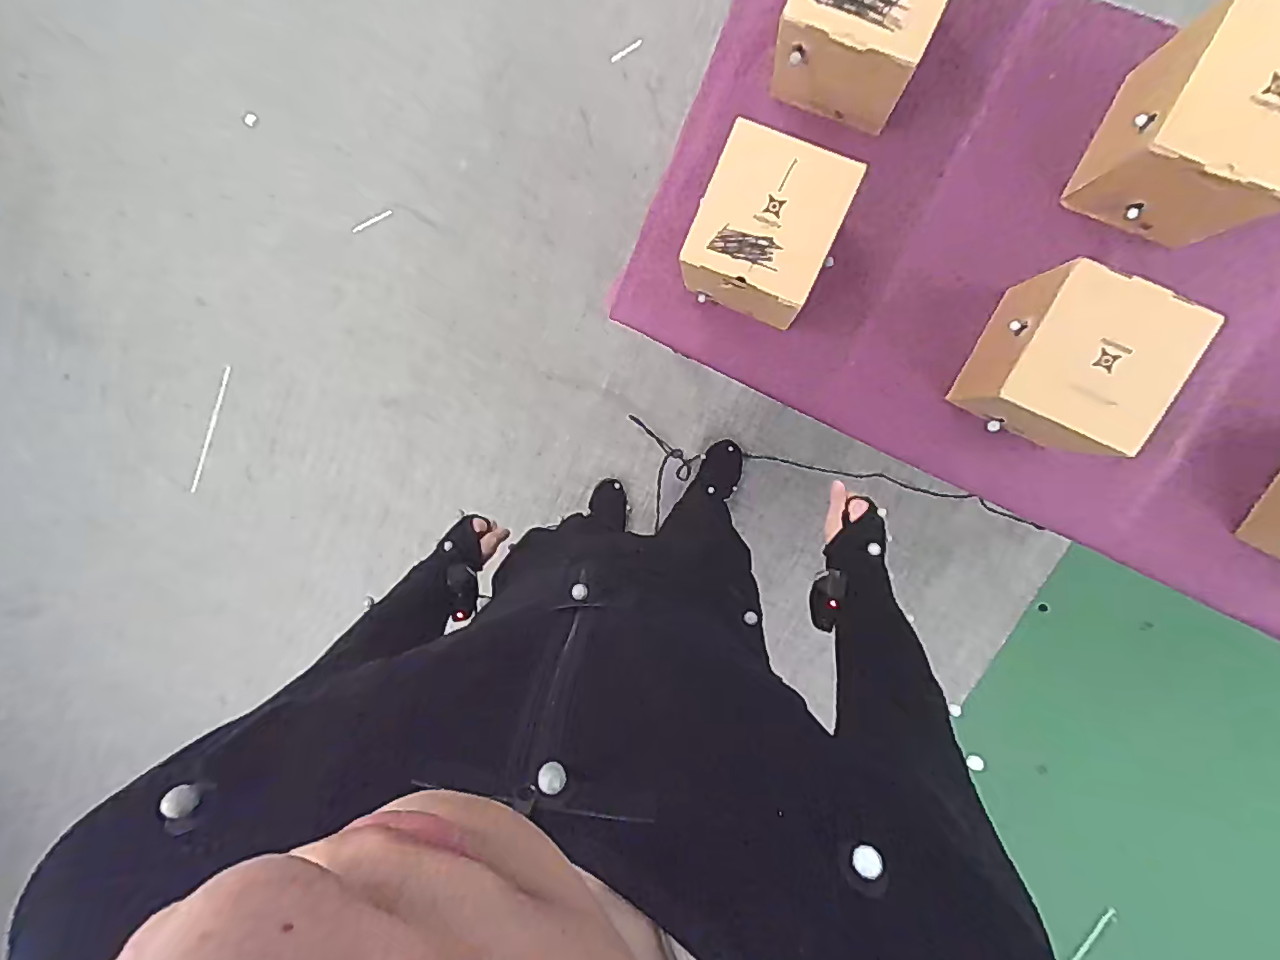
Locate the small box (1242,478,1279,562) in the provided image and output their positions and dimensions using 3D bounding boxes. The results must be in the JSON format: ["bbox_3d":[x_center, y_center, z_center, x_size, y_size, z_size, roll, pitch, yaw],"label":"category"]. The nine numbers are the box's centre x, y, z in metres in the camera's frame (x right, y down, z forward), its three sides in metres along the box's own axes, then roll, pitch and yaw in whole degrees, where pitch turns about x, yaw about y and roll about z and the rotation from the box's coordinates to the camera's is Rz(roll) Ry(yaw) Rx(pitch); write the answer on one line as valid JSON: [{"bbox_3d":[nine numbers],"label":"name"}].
[{"bbox_3d":[0.922,0.048,0.655,0.168,0.176,0.179,29,98,5],"label":"small box"}]

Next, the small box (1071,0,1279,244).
[{"bbox_3d":[0.670,-0.411,0.636,0.168,0.176,0.179,25,102,4],"label":"small box"}]

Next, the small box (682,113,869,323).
[{"bbox_3d":[0.169,-0.327,0.717,0.168,0.176,0.179,24,99,4],"label":"small box"}]

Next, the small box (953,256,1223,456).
[{"bbox_3d":[0.541,-0.148,0.689,0.168,0.176,0.179,28,100,5],"label":"small box"}]
